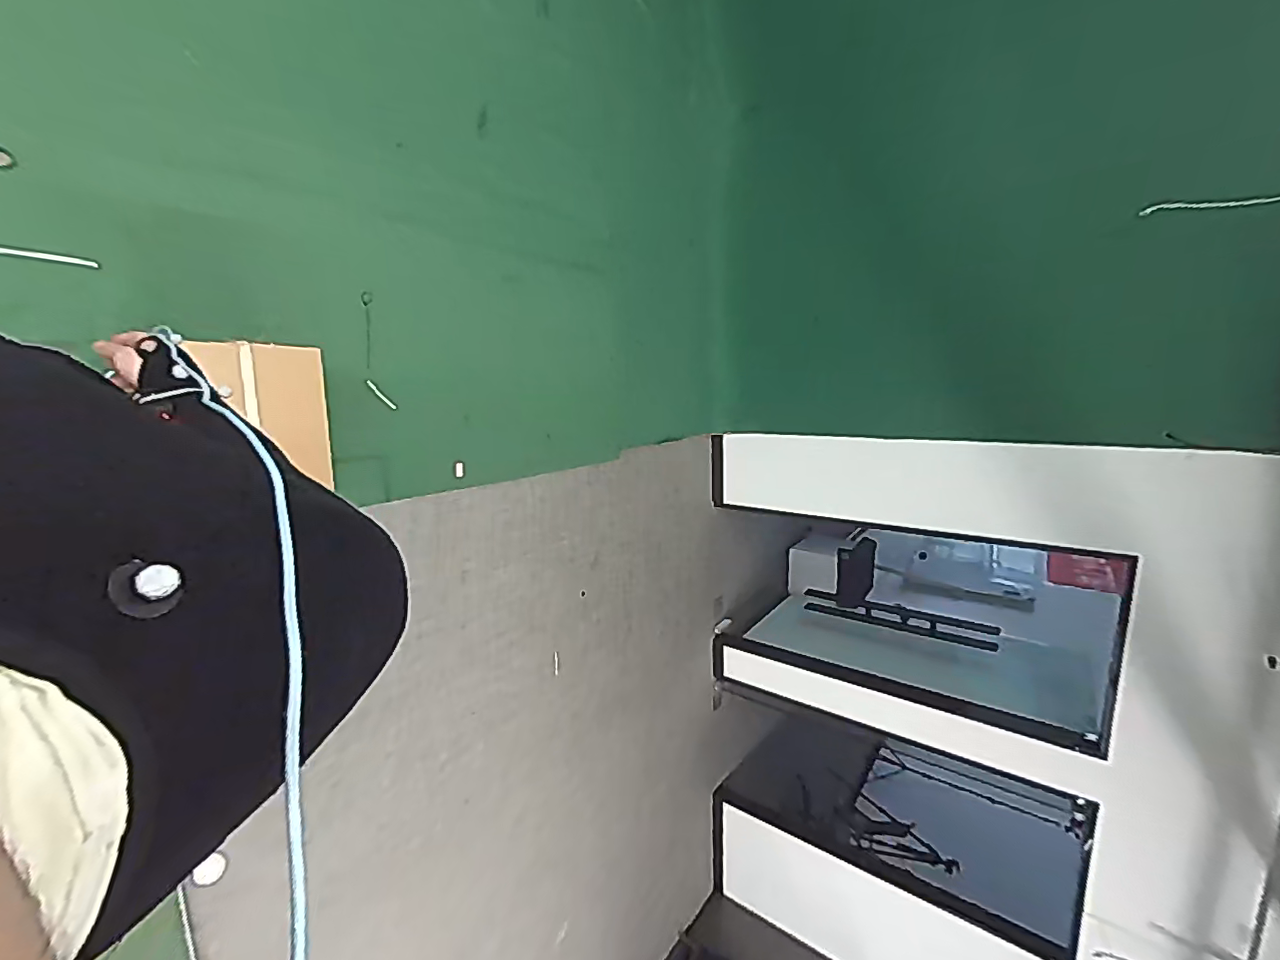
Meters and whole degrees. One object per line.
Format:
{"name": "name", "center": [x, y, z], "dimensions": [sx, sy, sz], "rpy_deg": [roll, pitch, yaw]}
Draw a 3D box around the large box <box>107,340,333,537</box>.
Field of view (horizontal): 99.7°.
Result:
{"name": "large box", "center": [-0.977, -0.113, 1.273], "dimensions": [0.320, 0.320, 0.408], "rpy_deg": [-13, 106, -52]}
